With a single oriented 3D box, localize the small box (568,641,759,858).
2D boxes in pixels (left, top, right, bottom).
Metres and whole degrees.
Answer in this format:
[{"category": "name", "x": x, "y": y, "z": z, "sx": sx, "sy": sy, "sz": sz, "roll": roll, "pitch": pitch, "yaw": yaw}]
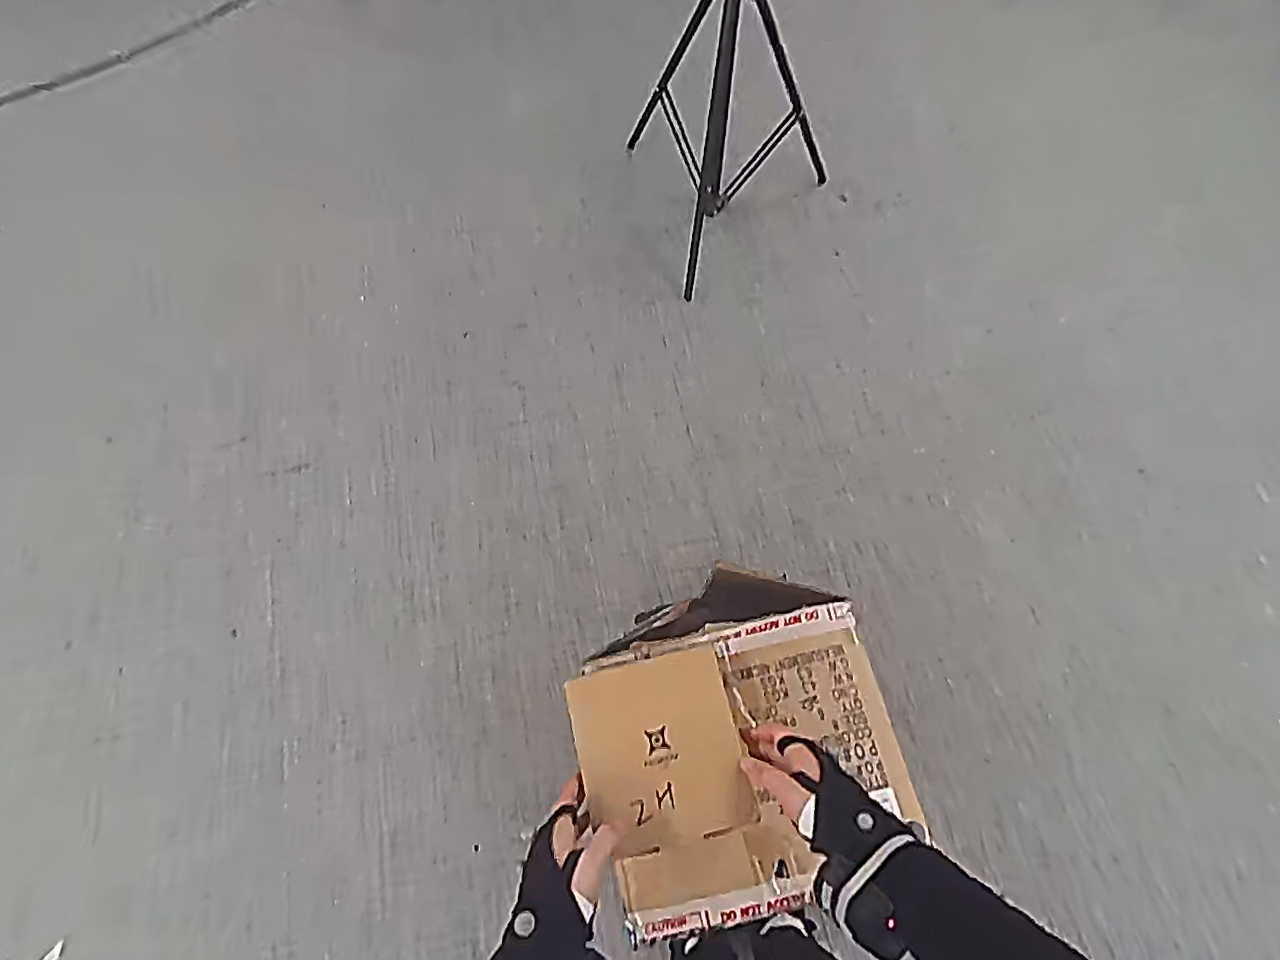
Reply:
[{"category": "small box", "x": 0.024, "y": 0.297, "z": 0.635, "sx": 0.168, "sy": 0.176, "sz": 0.179, "roll": -15, "pitch": 74, "yaw": 0}]
